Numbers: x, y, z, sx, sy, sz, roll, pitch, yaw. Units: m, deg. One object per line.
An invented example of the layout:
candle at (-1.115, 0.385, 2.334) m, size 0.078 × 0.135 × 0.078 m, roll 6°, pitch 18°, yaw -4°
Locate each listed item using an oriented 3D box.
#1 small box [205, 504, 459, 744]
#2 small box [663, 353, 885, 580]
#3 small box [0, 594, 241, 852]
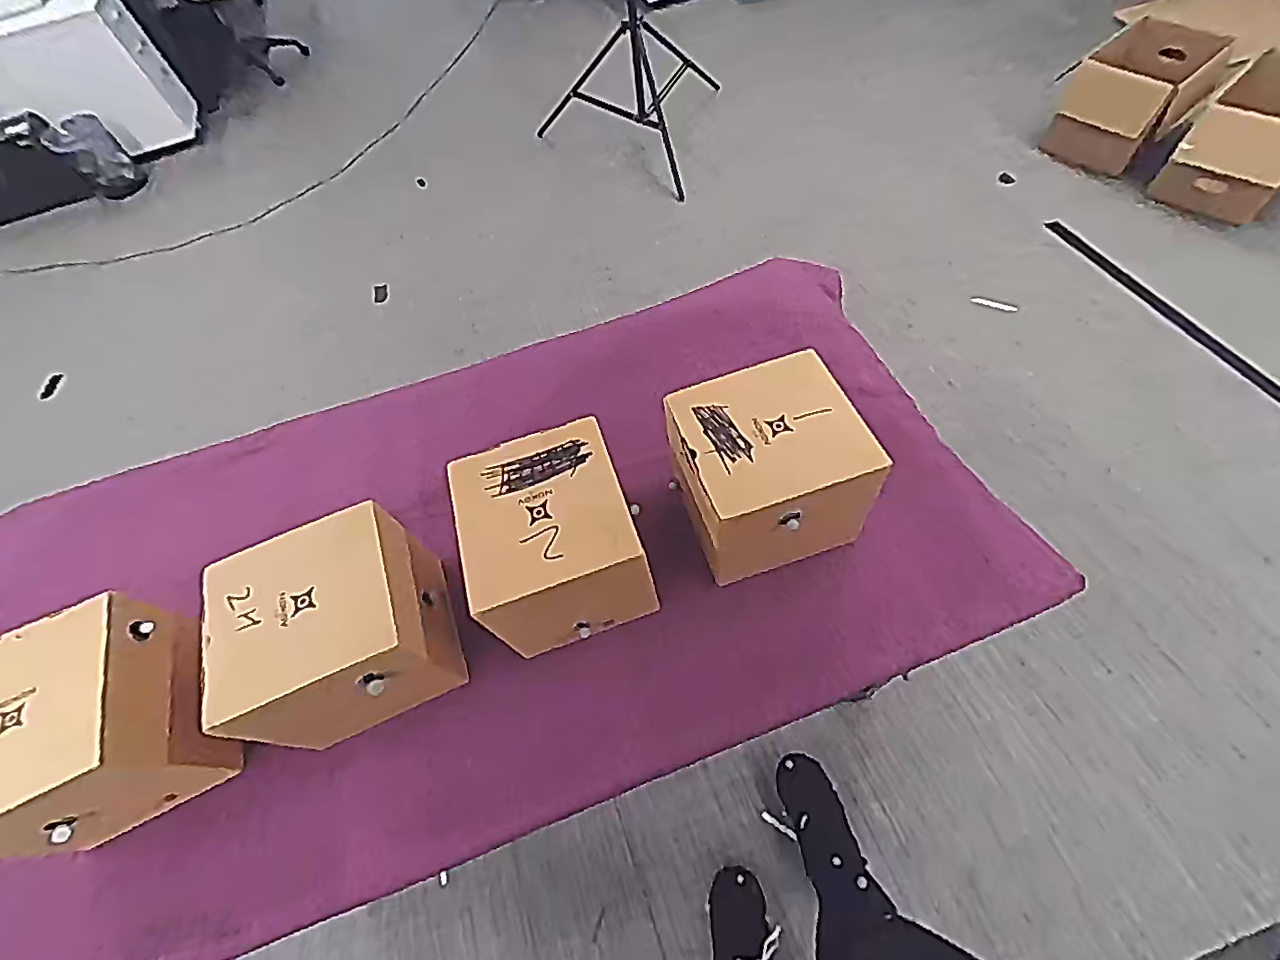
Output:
small box at (-0.311, 0.158, 0.576) m, size 0.179 × 0.176 × 0.168 m, roll -23°, pitch 58°, yaw -7°
small box at (0.138, -0.008, 0.612) m, size 0.179 × 0.176 × 0.168 m, roll -18°, pitch 57°, yaw -4°
small box at (-0.549, 0.251, 0.555) m, size 0.168 × 0.176 × 0.179 m, roll -26°, pitch 59°, yaw -8°
